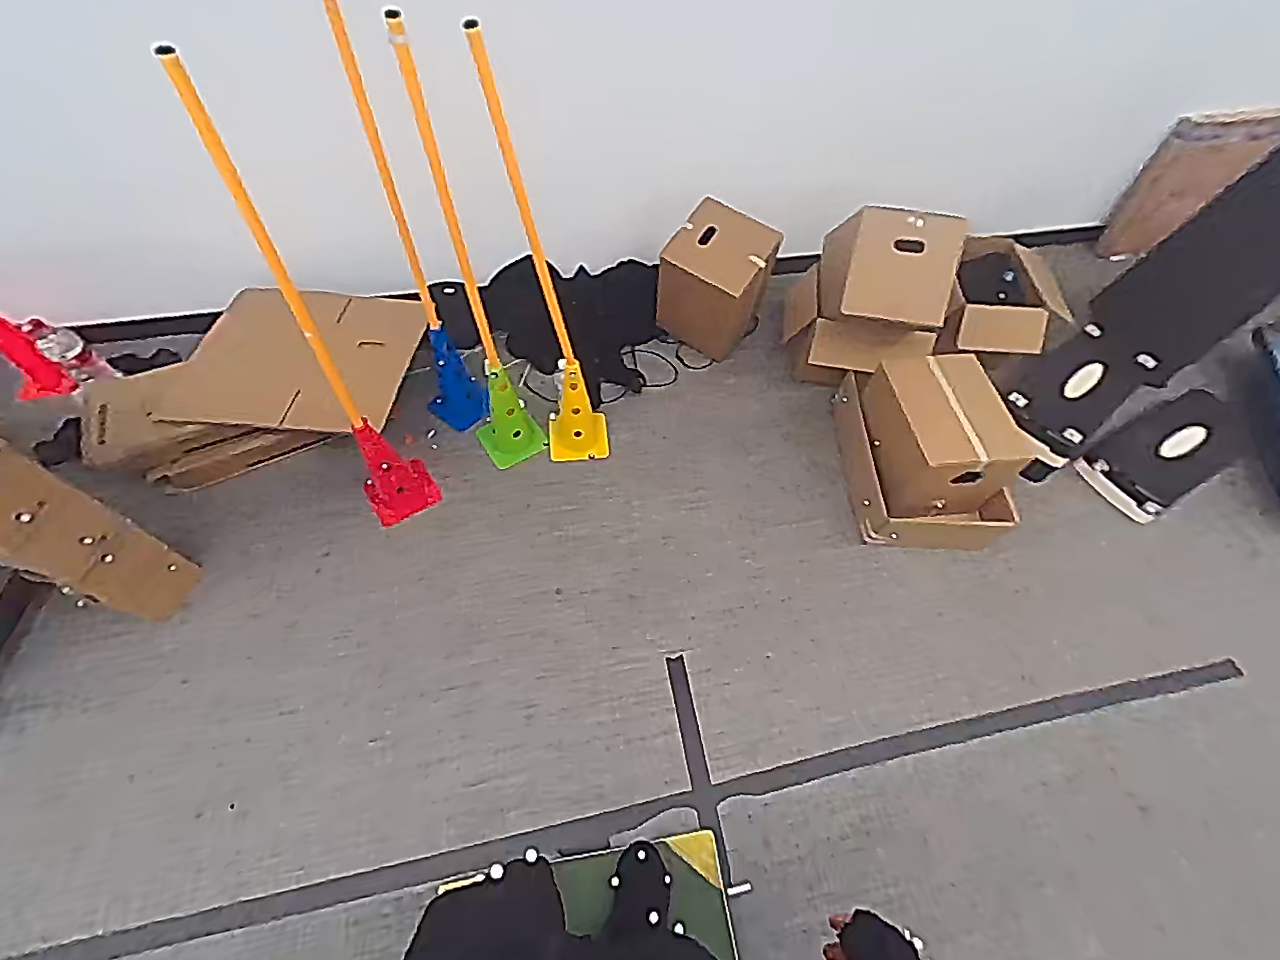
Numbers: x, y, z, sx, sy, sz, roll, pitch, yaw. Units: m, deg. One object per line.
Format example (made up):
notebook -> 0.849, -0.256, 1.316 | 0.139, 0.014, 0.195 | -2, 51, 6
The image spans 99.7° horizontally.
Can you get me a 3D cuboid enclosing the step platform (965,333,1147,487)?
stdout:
step platform -> 1.517, -0.271, 1.965 | 0.684, 0.204, 0.286 | -34, 65, -21
